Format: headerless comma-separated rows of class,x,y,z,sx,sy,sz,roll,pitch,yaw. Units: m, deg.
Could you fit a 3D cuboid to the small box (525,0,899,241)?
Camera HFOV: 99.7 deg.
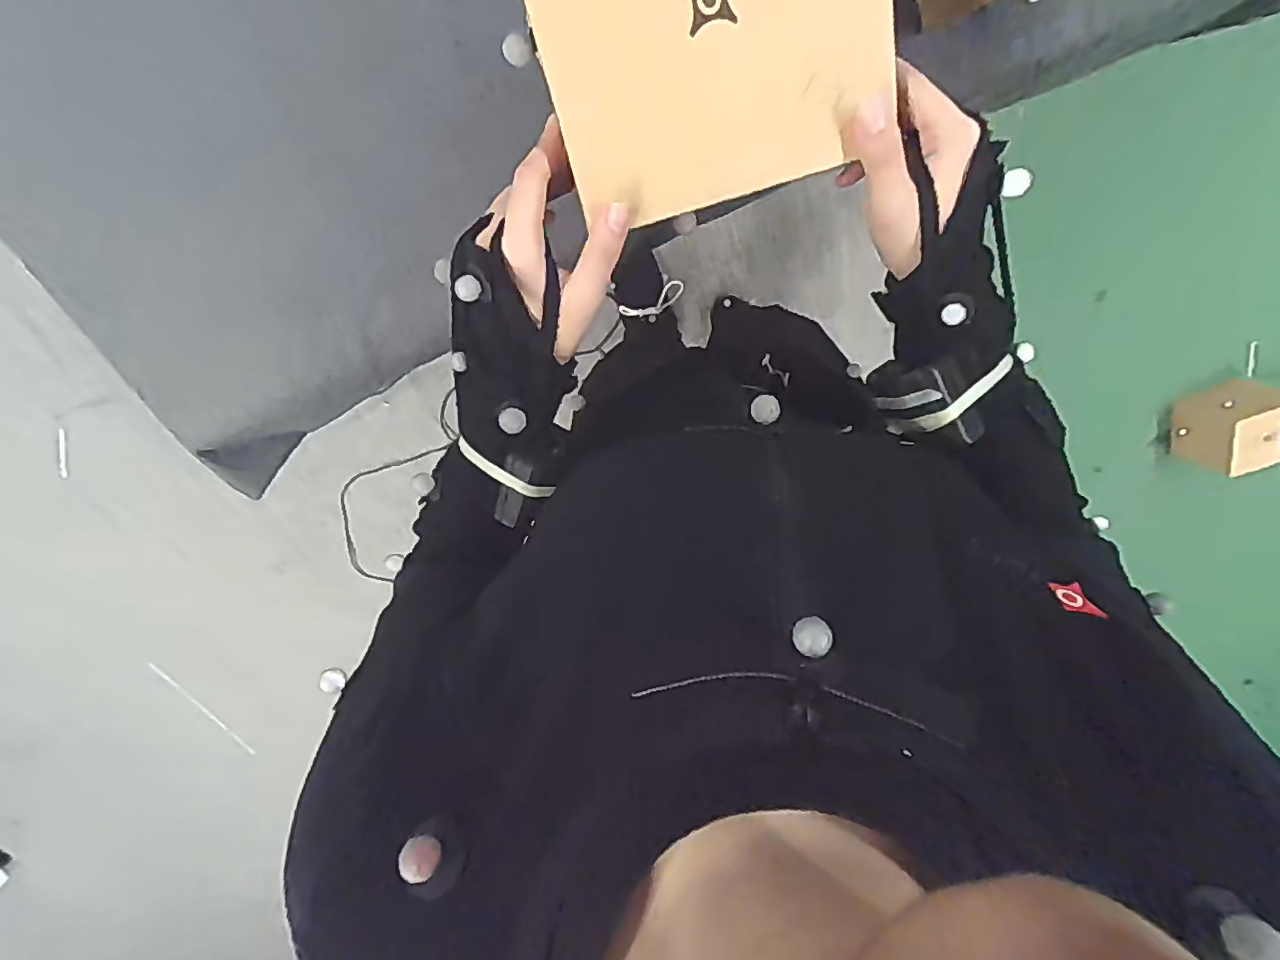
small box,0.027,-0.256,0.312,0.168,0.176,0.179,-16,116,3
